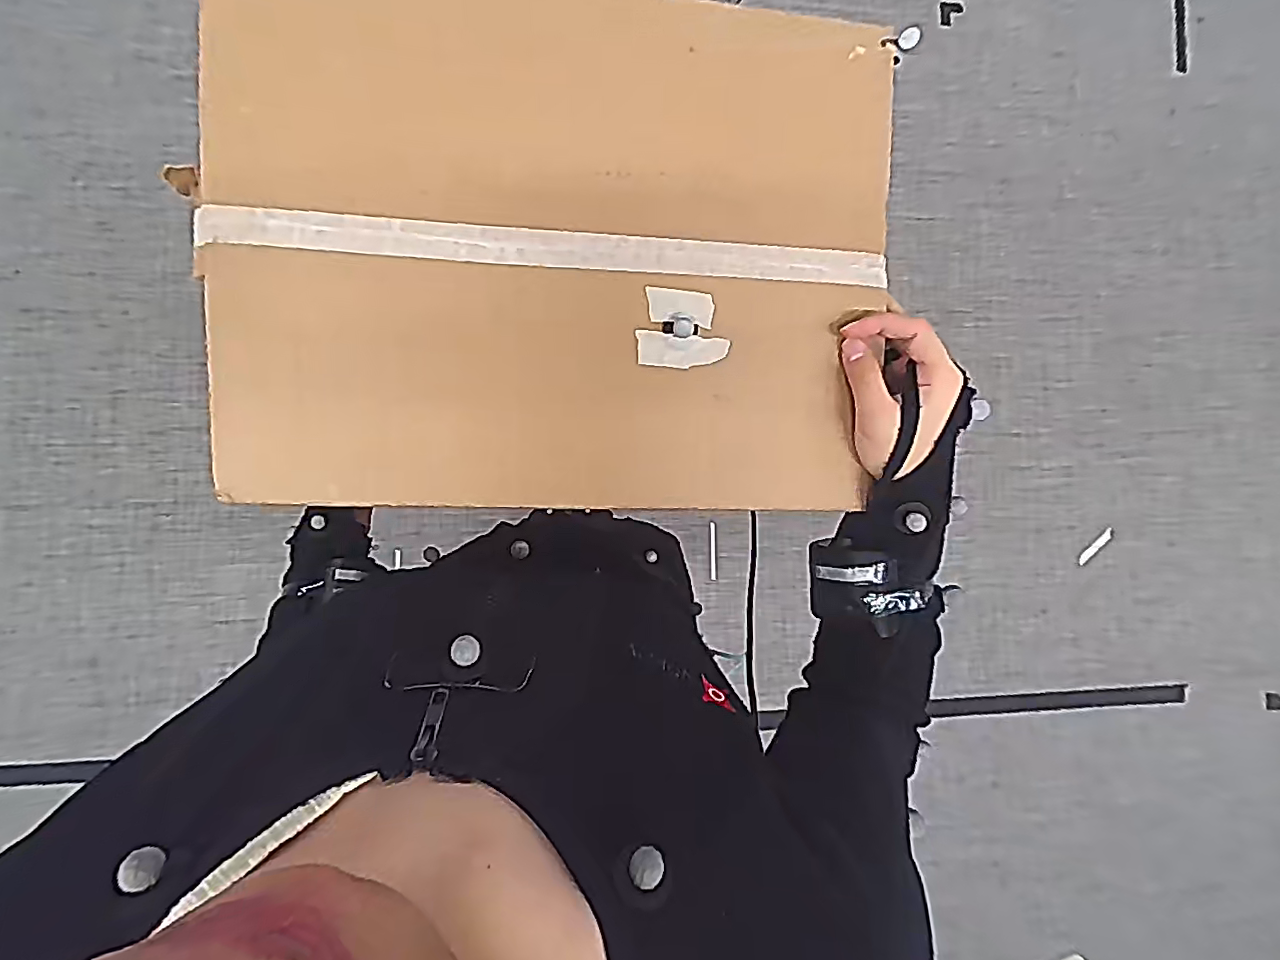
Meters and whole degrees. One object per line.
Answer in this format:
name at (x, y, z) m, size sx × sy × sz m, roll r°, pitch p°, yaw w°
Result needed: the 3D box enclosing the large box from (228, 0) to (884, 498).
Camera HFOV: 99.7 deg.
large box at (-0.059, -0.153, 0.483) m, size 0.408 × 0.320 × 0.320 m, roll 1°, pitch 94°, yaw -9°
